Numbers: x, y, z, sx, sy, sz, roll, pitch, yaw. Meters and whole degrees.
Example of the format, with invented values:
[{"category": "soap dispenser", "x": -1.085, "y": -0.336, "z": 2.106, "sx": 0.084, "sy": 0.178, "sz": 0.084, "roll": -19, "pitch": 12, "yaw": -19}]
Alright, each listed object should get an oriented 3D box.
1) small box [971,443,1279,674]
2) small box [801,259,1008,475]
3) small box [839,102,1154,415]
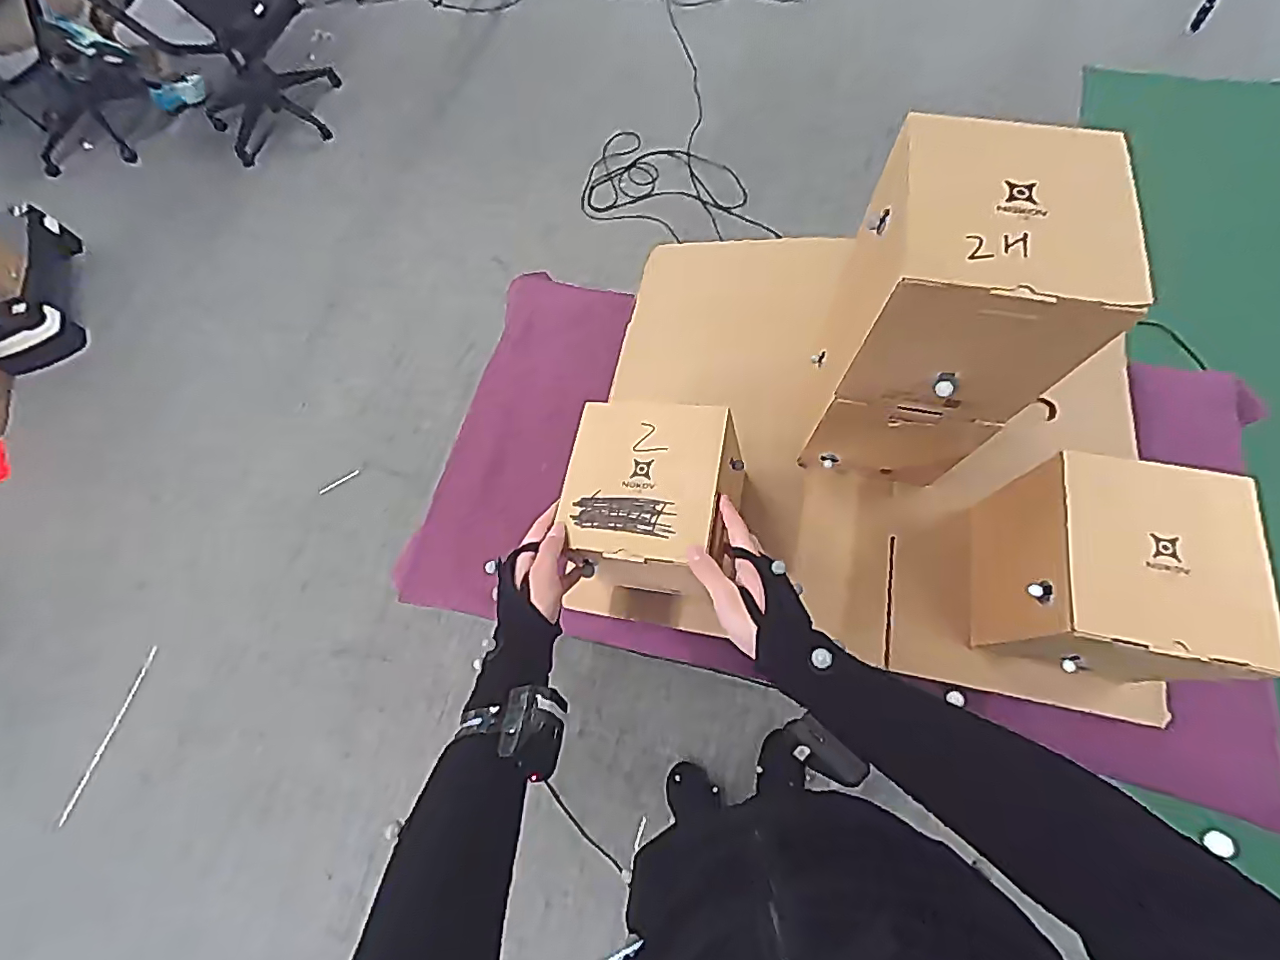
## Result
[{"category": "small box", "x": 0.459, "y": 0.087, "z": 0.541, "sx": 0.168, "sy": 0.176, "sz": 0.179, "roll": 10, "pitch": 71, "yaw": 6}, {"category": "small box", "x": 0.292, "y": -0.121, "z": 0.625, "sx": 0.168, "sy": 0.176, "sz": 0.179, "roll": 10, "pitch": 70, "yaw": 6}, {"category": "small box", "x": 0.284, "y": -0.181, "z": 0.473, "sx": 0.168, "sy": 0.176, "sz": 0.179, "roll": 10, "pitch": 71, "yaw": 6}]
